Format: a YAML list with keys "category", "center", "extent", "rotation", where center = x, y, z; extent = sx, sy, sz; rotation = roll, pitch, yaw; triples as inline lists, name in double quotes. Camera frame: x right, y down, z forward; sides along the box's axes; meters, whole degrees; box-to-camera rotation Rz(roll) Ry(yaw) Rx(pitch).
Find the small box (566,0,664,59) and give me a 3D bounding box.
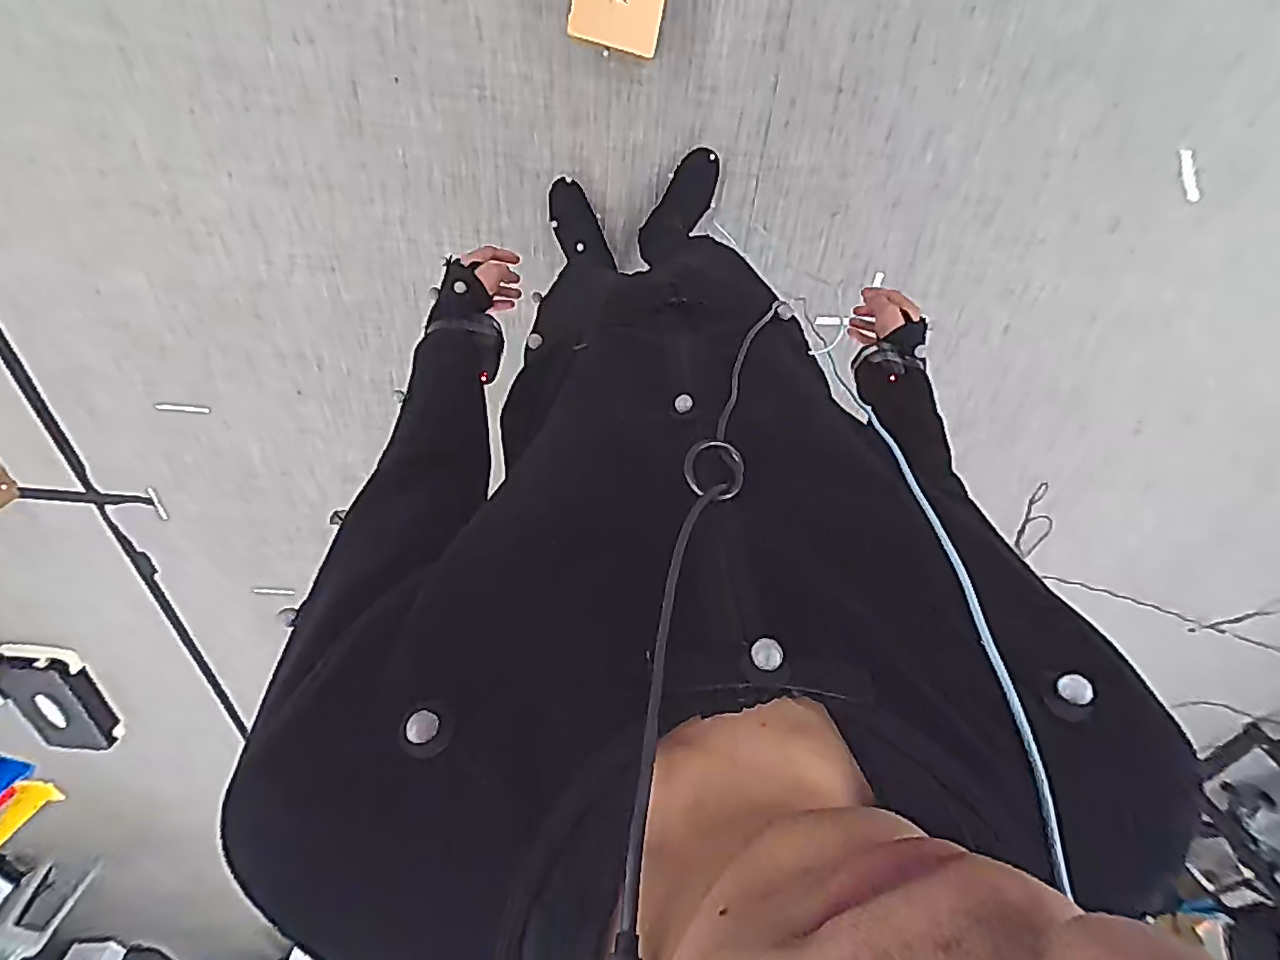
- category: "small box"
  center: [-0.042, -0.963, 1.076]
  extent: [0.179, 0.176, 0.168]
  rotation: [11, 125, -8]
